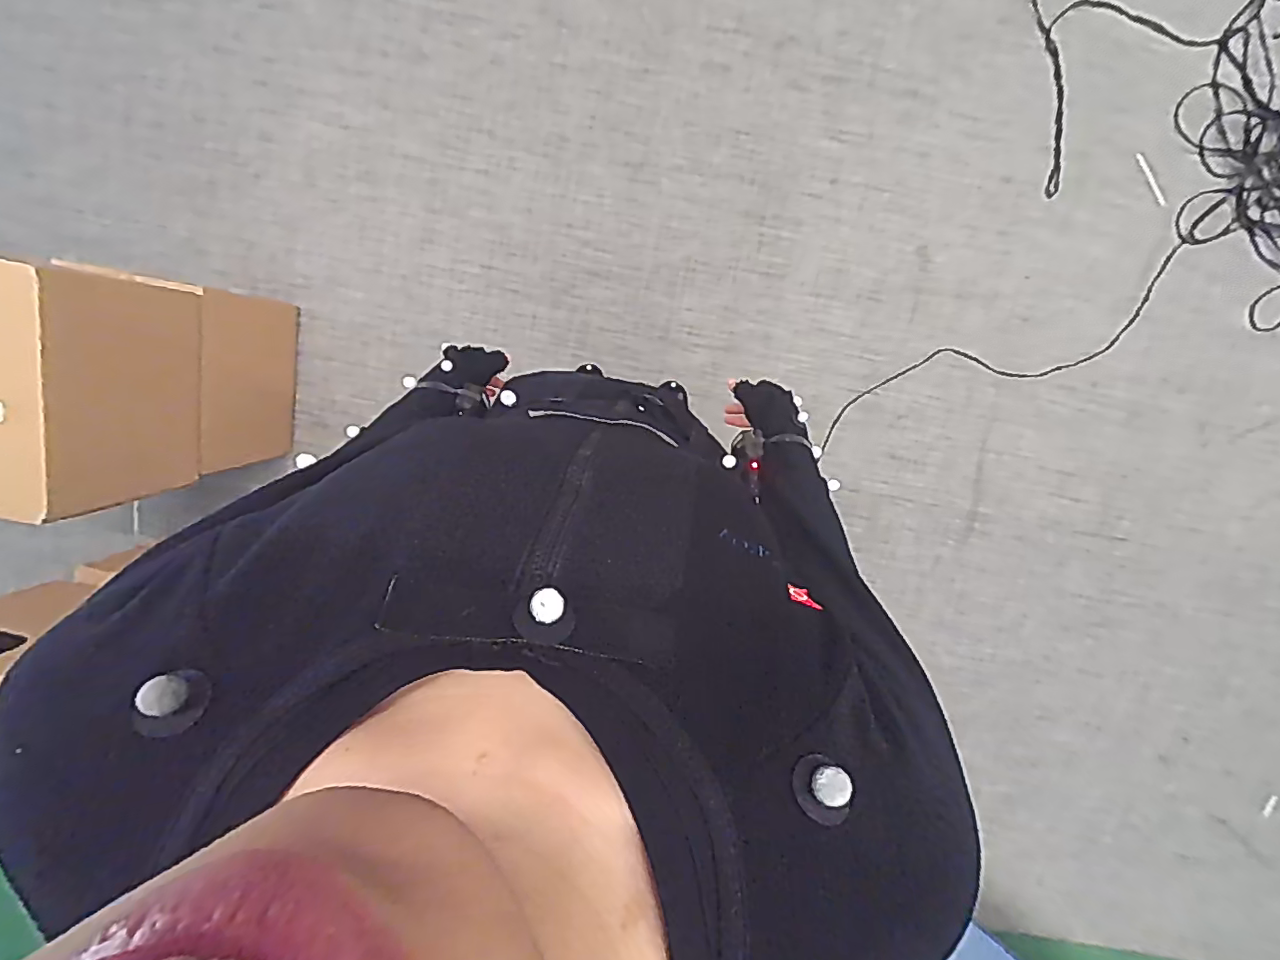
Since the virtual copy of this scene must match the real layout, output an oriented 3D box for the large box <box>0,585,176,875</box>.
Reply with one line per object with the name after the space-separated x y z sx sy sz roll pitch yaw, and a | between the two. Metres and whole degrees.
-1.232 0.482 1.111 0.320 0.320 0.408 12 100 2 | large box
